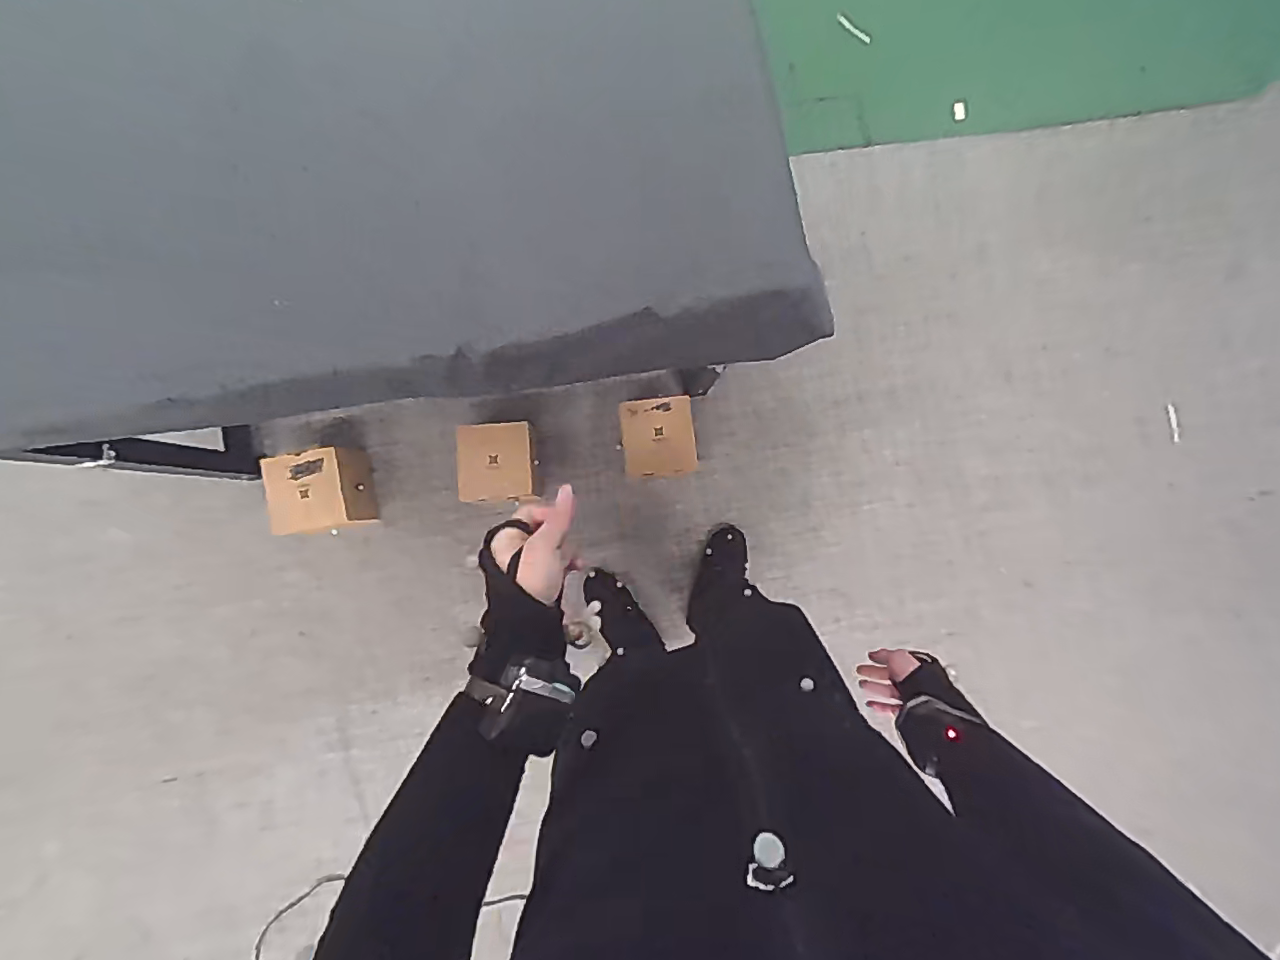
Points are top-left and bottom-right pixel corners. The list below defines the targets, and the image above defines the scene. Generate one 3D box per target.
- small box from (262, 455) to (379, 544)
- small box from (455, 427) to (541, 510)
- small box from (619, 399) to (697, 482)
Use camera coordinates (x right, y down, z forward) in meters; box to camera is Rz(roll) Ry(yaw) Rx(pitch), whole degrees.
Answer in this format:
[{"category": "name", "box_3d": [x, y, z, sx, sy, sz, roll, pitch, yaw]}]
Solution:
[{"category": "small box", "box_3d": [-0.741, 0.048, 1.271, 0.168, 0.176, 0.179, -12, 88, -3]}, {"category": "small box", "box_3d": [-0.334, -0.023, 1.298, 0.168, 0.176, 0.179, -6, 86, -4]}, {"category": "small box", "box_3d": [0.039, -0.089, 1.320, 0.168, 0.176, 0.179, -7, 86, -3]}]
